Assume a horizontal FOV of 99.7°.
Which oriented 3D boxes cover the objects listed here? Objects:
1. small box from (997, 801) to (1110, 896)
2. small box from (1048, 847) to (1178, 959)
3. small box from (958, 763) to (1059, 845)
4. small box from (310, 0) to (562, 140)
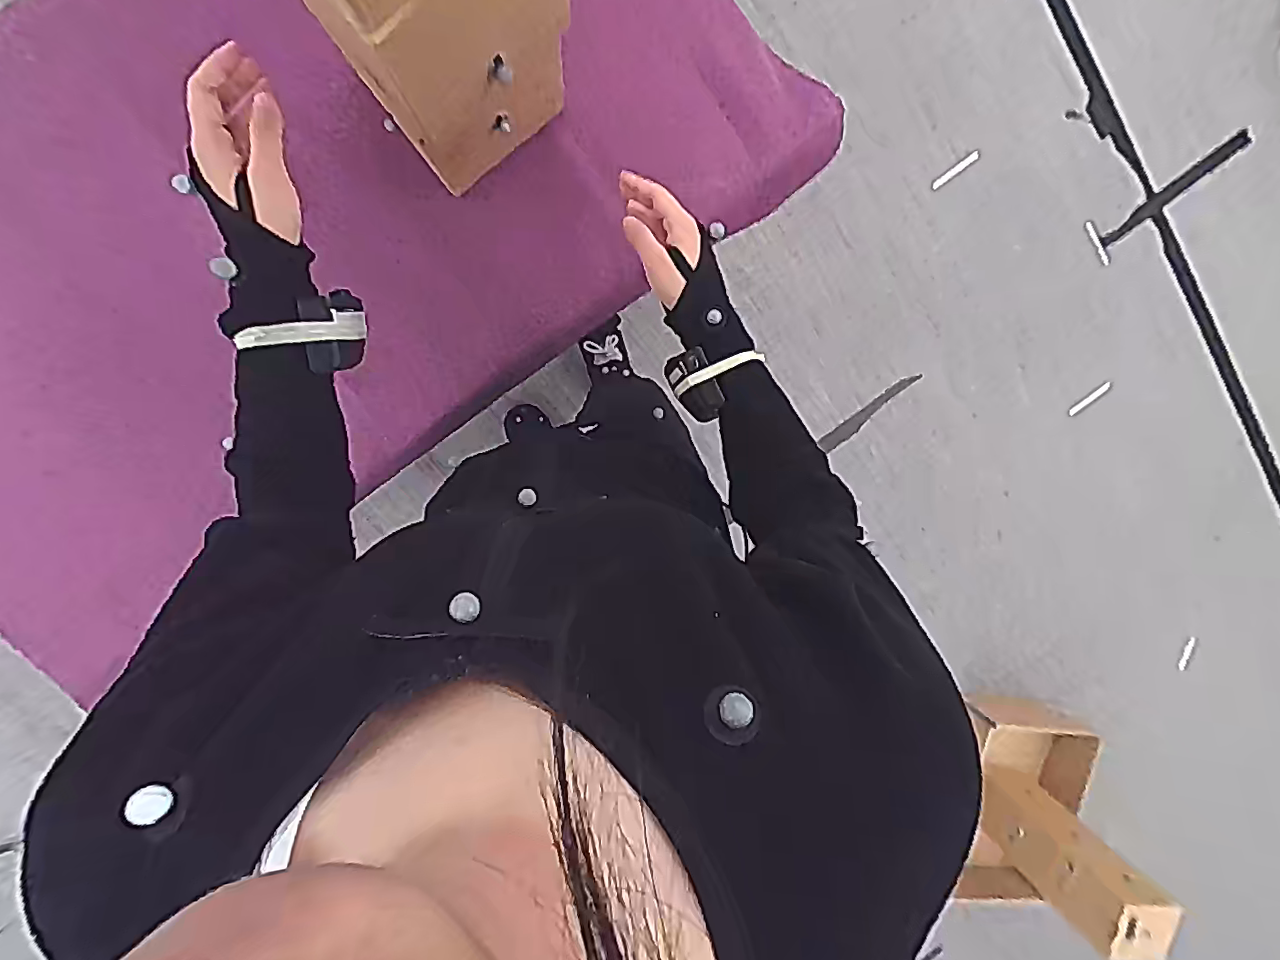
[{"bbox_3d":[1.192,1.065,1.568,0.179,0.176,0.168,10,98,-9],"label":"small box"},{"bbox_3d":[1.219,1.093,1.408,0.179,0.176,0.168,9,98,-11],"label":"small box"},{"bbox_3d":[1.169,1.035,1.725,0.179,0.176,0.168,11,98,-10],"label":"small box"},{"bbox_3d":[-0.171,-0.415,0.413,0.179,0.176,0.168,-42,102,2],"label":"small box"}]
